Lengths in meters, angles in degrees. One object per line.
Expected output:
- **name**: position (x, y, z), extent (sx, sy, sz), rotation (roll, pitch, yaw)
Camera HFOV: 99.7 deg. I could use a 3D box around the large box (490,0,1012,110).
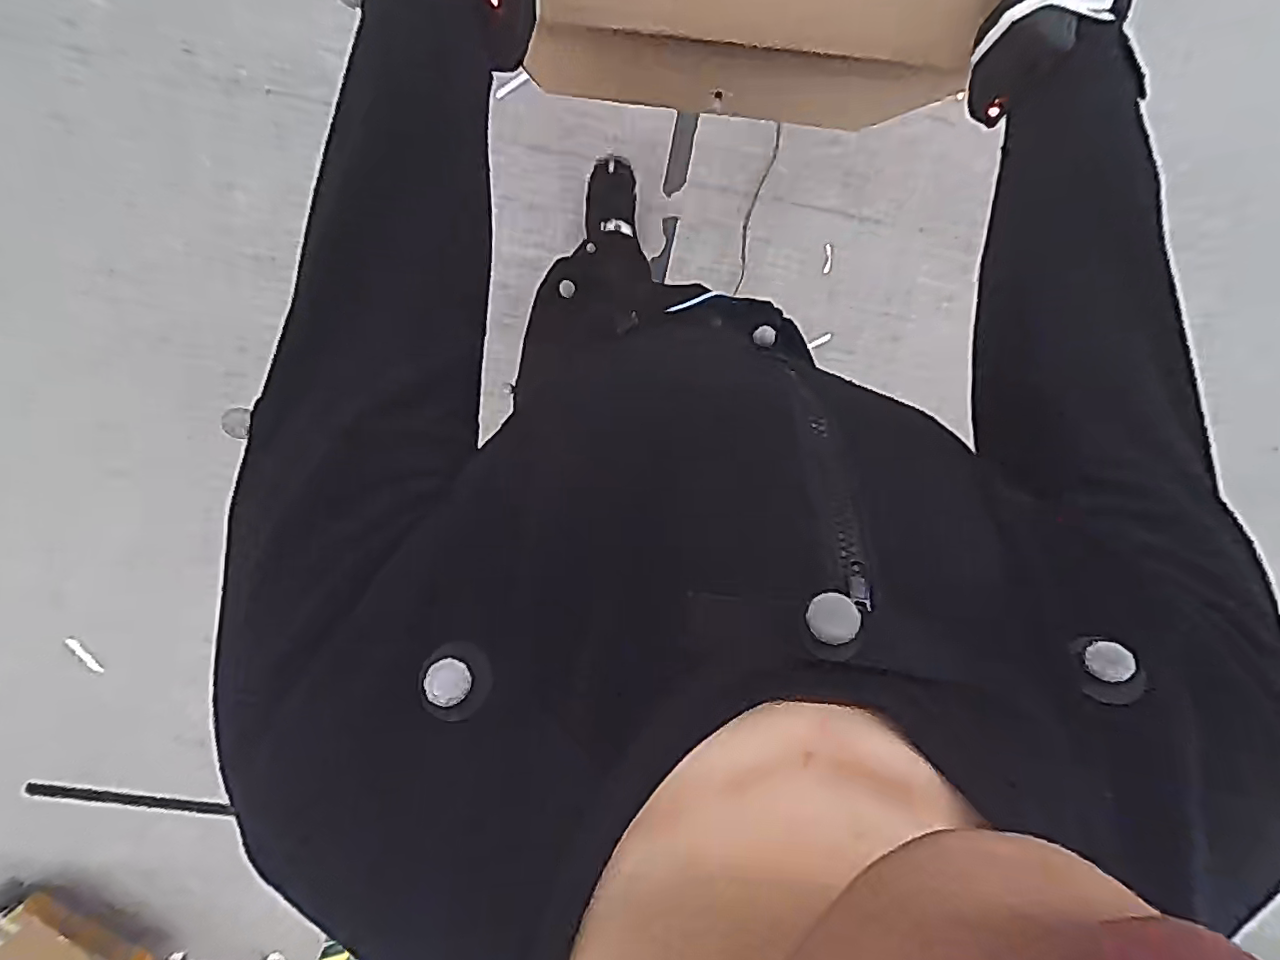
- **large box**: position (0.097, -0.549, 0.482), extent (0.408, 0.320, 0.320), rotation (5, 116, -2)
